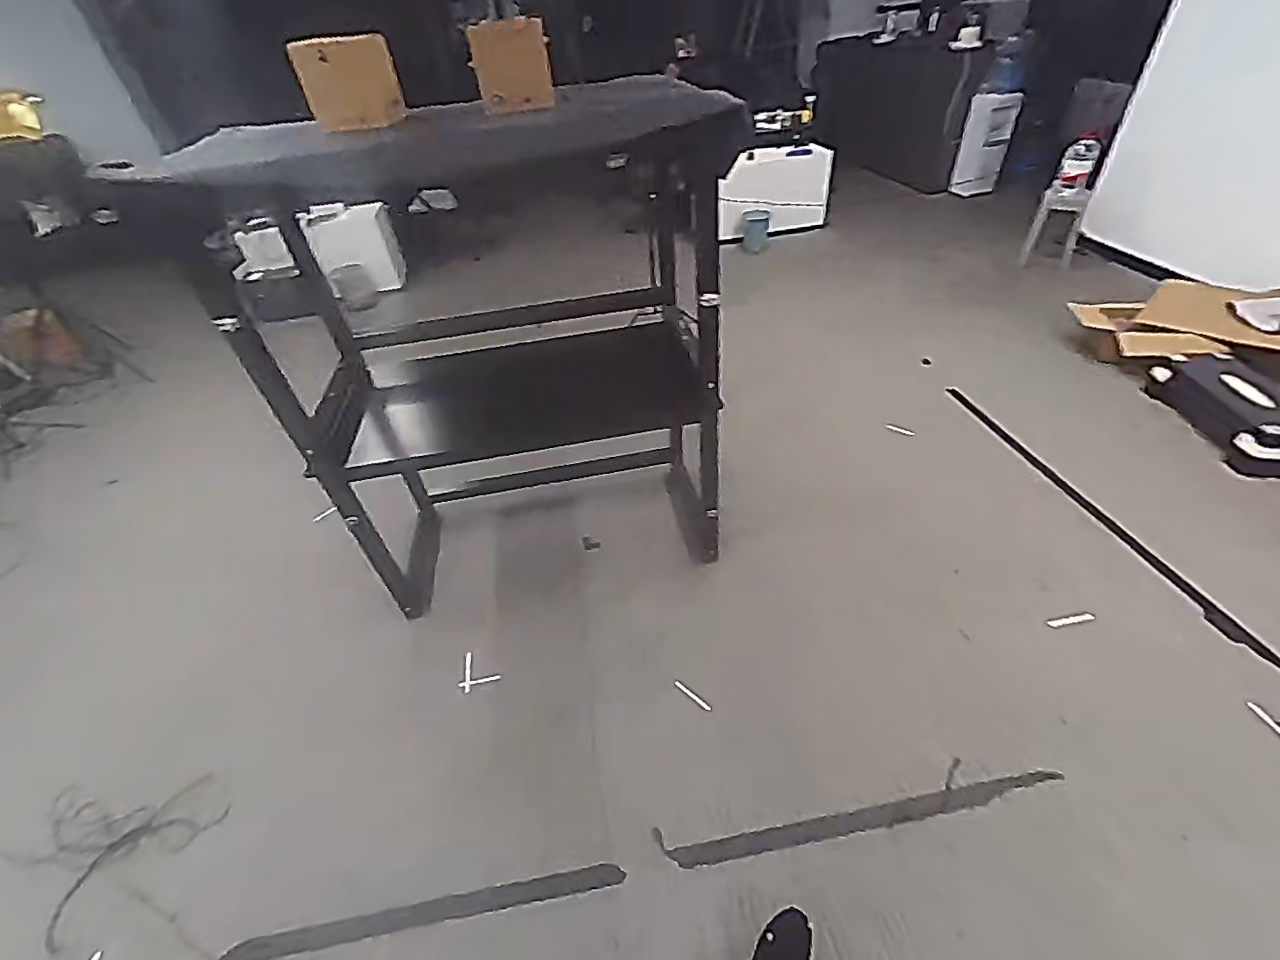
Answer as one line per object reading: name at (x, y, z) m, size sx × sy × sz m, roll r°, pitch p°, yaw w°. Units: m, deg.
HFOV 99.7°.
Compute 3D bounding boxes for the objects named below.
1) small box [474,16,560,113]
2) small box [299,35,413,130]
small box at (-0.291, -0.996, 1.301) m, size 0.168 × 0.176 × 0.179 m, roll -11°, pitch 41°, yaw -6°
small box at (-0.666, -0.953, 1.297) m, size 0.168 × 0.176 × 0.179 m, roll -6°, pitch 41°, yaw 0°
